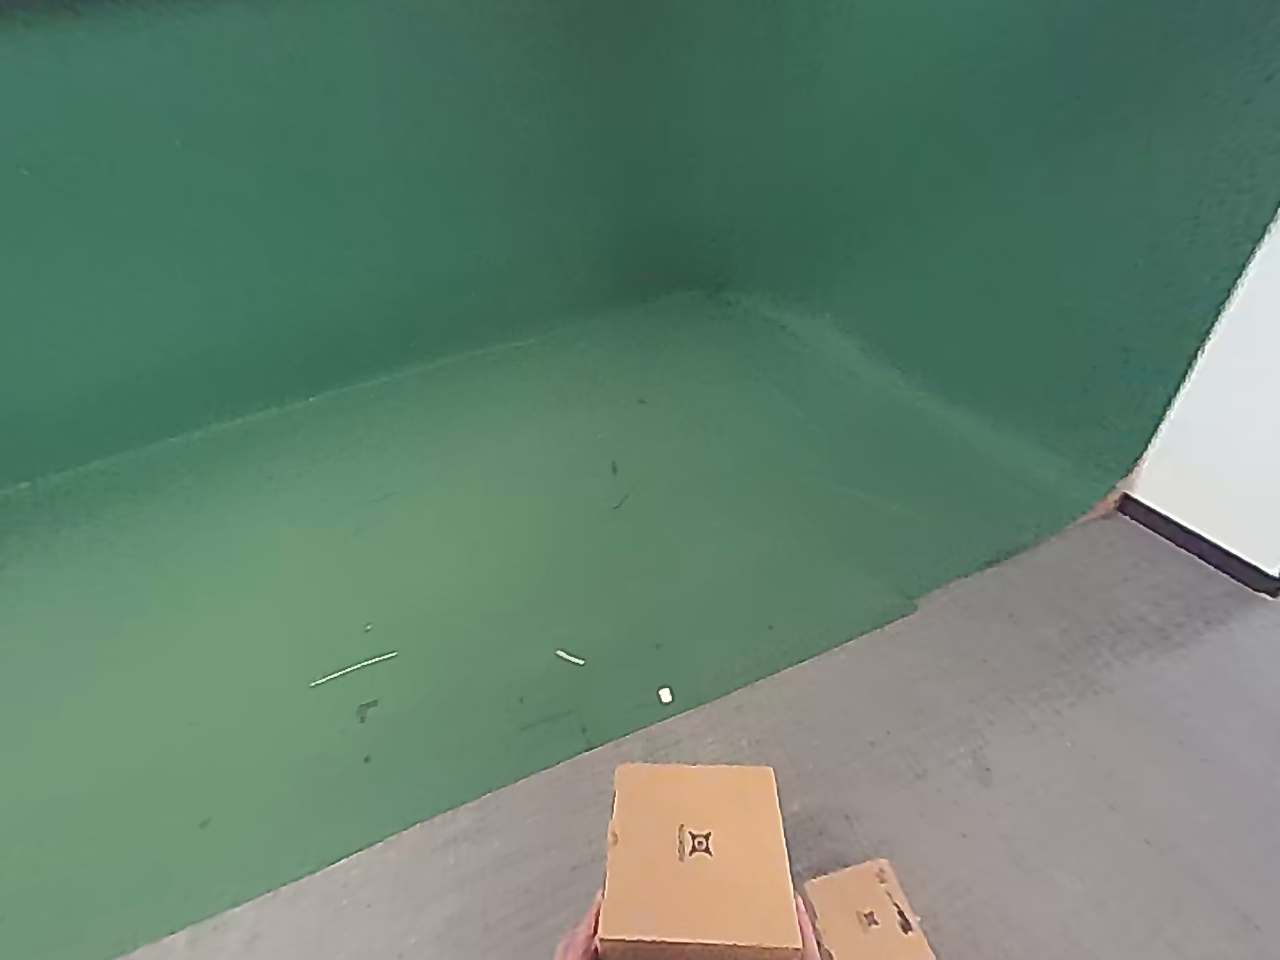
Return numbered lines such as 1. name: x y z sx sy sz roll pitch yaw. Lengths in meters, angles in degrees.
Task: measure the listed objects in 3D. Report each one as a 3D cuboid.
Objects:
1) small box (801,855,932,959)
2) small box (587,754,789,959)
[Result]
1. small box: 0.430 0.875 1.056 0.179 0.176 0.168 -14 40 -3
2. small box: 0.050 0.418 0.570 0.179 0.176 0.168 -3 27 5
